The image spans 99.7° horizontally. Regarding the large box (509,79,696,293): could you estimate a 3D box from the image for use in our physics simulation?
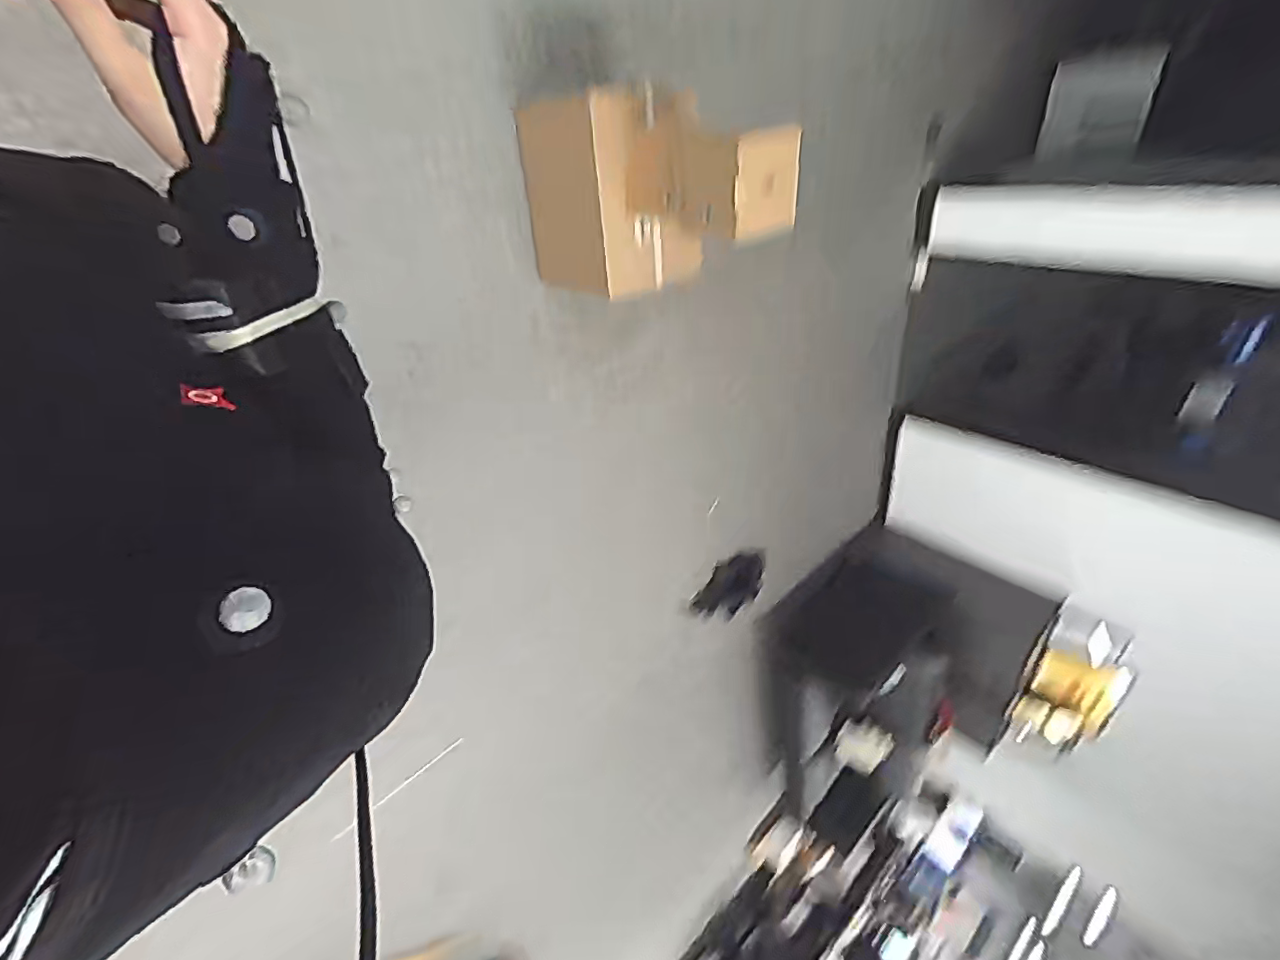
[{"bbox_3d":[-0.080,-0.724,1.332,0.320,0.320,0.408,-28,131,-30],"label":"large box"}]

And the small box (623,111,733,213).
[{"bbox_3d":[0.076,-0.669,1.149,0.168,0.176,0.179,-23,128,-35],"label":"small box"}]

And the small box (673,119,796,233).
[{"bbox_3d":[0.176,-0.589,1.047,0.179,0.176,0.168,-31,133,-30],"label":"small box"}]
